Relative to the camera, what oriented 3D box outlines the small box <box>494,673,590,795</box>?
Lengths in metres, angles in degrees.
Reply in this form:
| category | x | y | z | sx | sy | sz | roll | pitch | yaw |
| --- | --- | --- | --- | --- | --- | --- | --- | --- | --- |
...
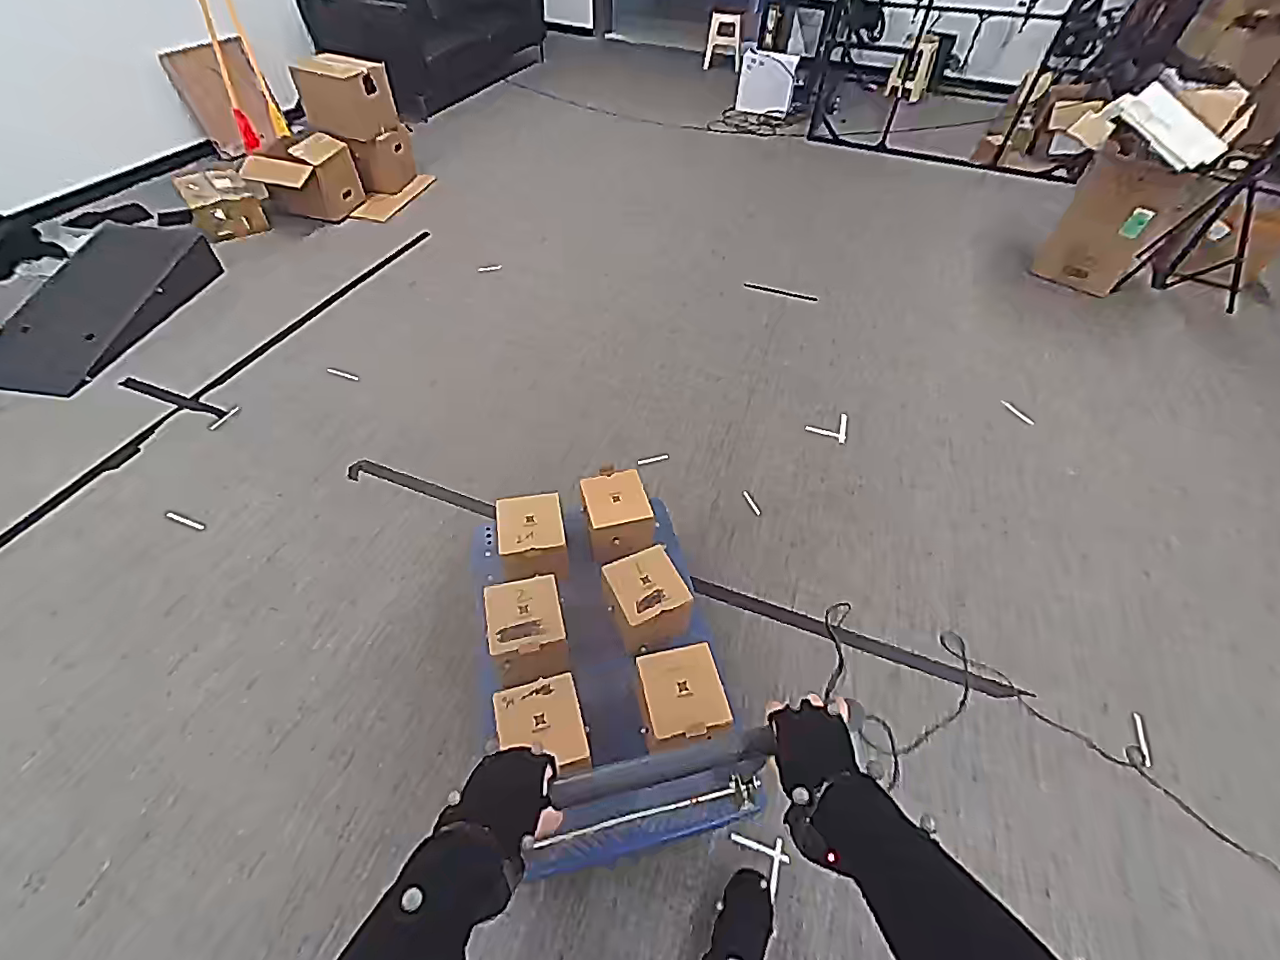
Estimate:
| category | x | y | z | sx | sy | sz | roll | pitch | yaw |
| --- | --- | --- | --- | --- | --- | --- | --- | --- | --- |
| small box | -0.202 | 0.536 | 1.131 | 0.168 | 0.176 | 0.179 | -11 | 51 | -15 |

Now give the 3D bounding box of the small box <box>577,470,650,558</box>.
| category | x | y | z | sx | sy | sz | roll | pitch | yaw |
| --- | --- | --- | --- | --- | --- | --- | --- | --- | --- |
| small box | -0.075 | 0.101 | 1.521 | 0.168 | 0.176 | 0.179 | -12 | 51 | -13 |

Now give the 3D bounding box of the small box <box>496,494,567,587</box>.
| category | x | y | z | sx | sy | sz | roll | pitch | yaw |
| --- | --- | --- | --- | --- | --- | --- | --- | --- | --- |
| small box | -0.291 | 0.163 | 1.450 | 0.168 | 0.176 | 0.179 | -8 | 51 | -10 |

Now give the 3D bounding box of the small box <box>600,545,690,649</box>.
| category | x | y | z | sx | sy | sz | roll | pitch | yaw |
| --- | --- | --- | --- | --- | --- | --- | --- | --- | --- |
| small box | 0.008 | 0.299 | 1.353 | 0.168 | 0.176 | 0.179 | -19 | 52 | -19 |

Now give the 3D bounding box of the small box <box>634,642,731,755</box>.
| category | x | y | z | sx | sy | sz | roll | pitch | yaw |
| --- | --- | --- | --- | --- | --- | --- | --- | --- | --- |
| small box | 0.086 | 0.487 | 1.195 | 0.168 | 0.176 | 0.179 | -8 | 49 | -12 |
